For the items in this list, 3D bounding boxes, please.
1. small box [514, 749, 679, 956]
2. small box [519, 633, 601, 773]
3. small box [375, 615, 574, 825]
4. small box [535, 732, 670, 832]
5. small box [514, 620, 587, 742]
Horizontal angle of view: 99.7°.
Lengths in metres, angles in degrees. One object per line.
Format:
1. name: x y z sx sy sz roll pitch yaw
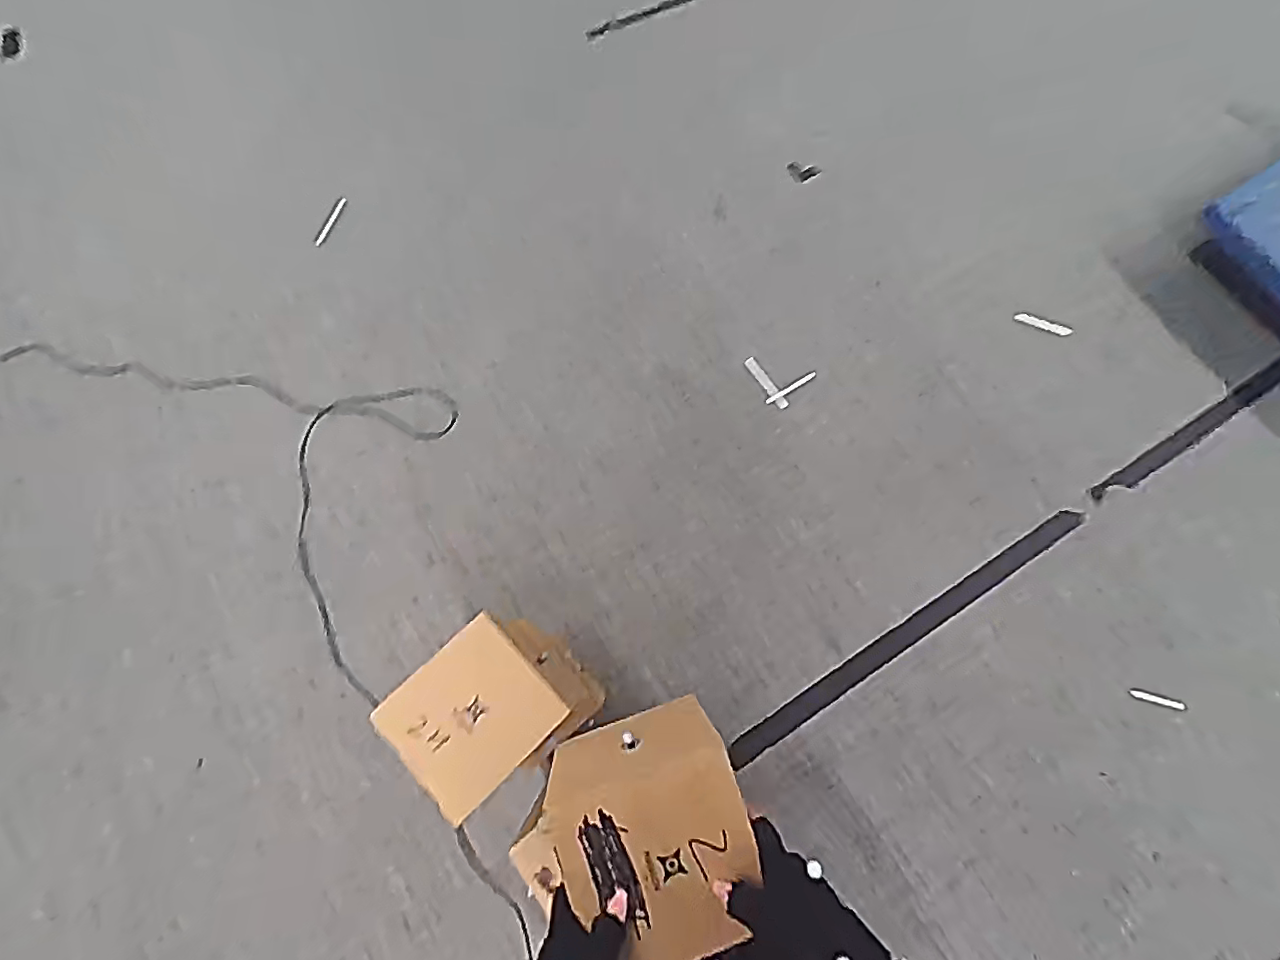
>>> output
1. small box: -0.066 0.546 0.828 0.179 0.176 0.168 -37 78 -12
2. small box: -0.187 0.414 1.032 0.179 0.176 0.168 -40 79 -13
3. small box: -0.203 0.302 0.721 0.179 0.176 0.168 -43 79 -13
4. small box: -0.067 0.590 0.986 0.179 0.176 0.168 -34 77 -10
5. small box: -0.200 0.351 0.879 0.179 0.176 0.168 -39 79 -13
